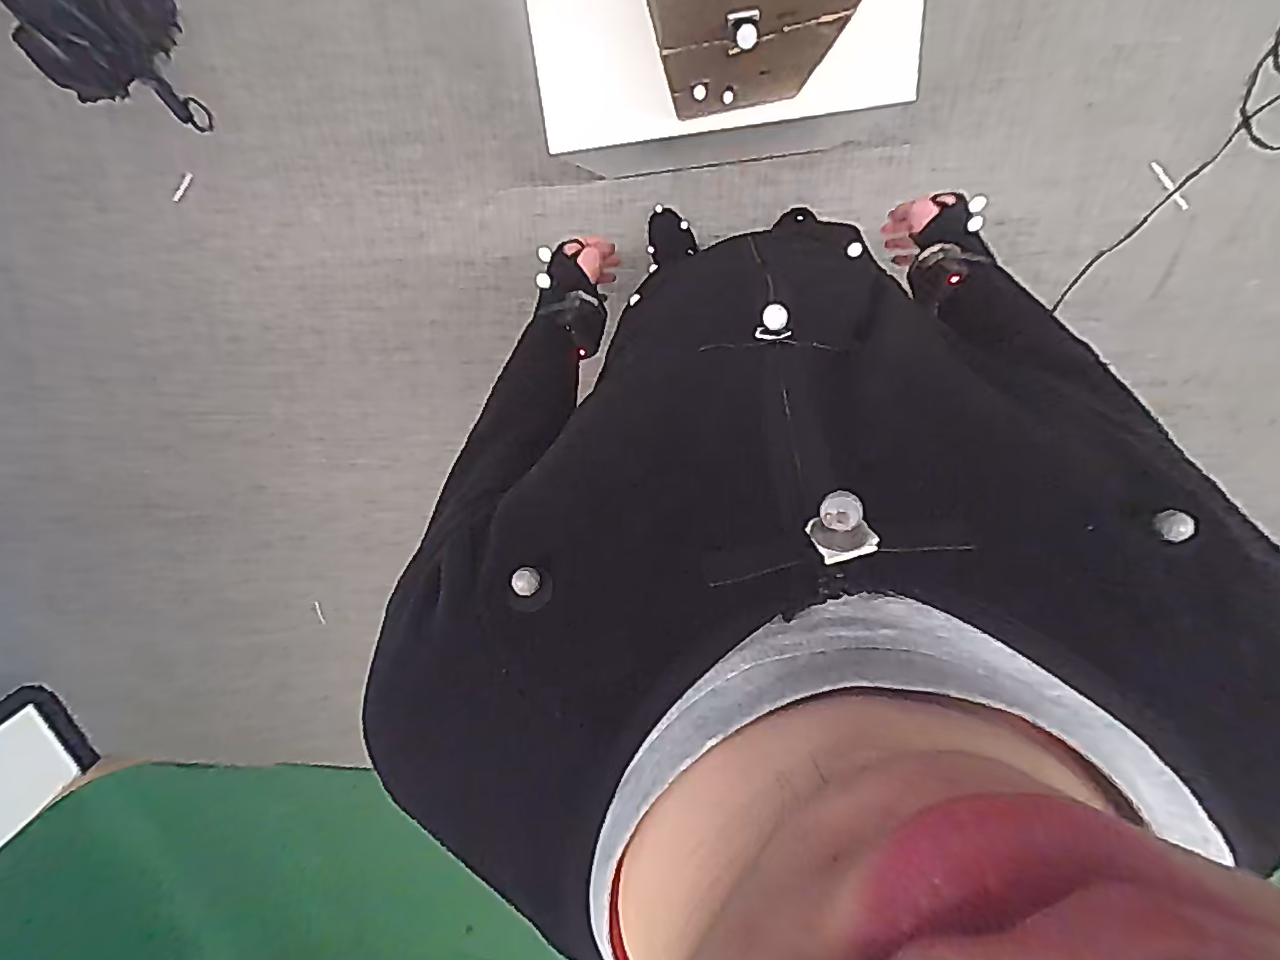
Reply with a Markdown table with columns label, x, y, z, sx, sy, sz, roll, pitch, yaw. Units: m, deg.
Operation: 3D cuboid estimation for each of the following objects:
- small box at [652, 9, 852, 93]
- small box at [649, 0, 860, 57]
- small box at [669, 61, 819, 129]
| label | x | y | z | sx | sy | sz | roll | pitch | yaw |
| --- | --- | --- | --- | --- | --- | --- | --- | --- | --- |
| small box | 0.092 | -0.481 | 0.493 | 0.168 | 0.176 | 0.179 | -6 | 112 | 9 |
| small box | 0.075 | -0.415 | 0.345 | 0.168 | 0.176 | 0.179 | -6 | 114 | 10 |
| small box | 0.110 | -0.548 | 0.642 | 0.168 | 0.176 | 0.179 | -7 | 112 | 10 |
